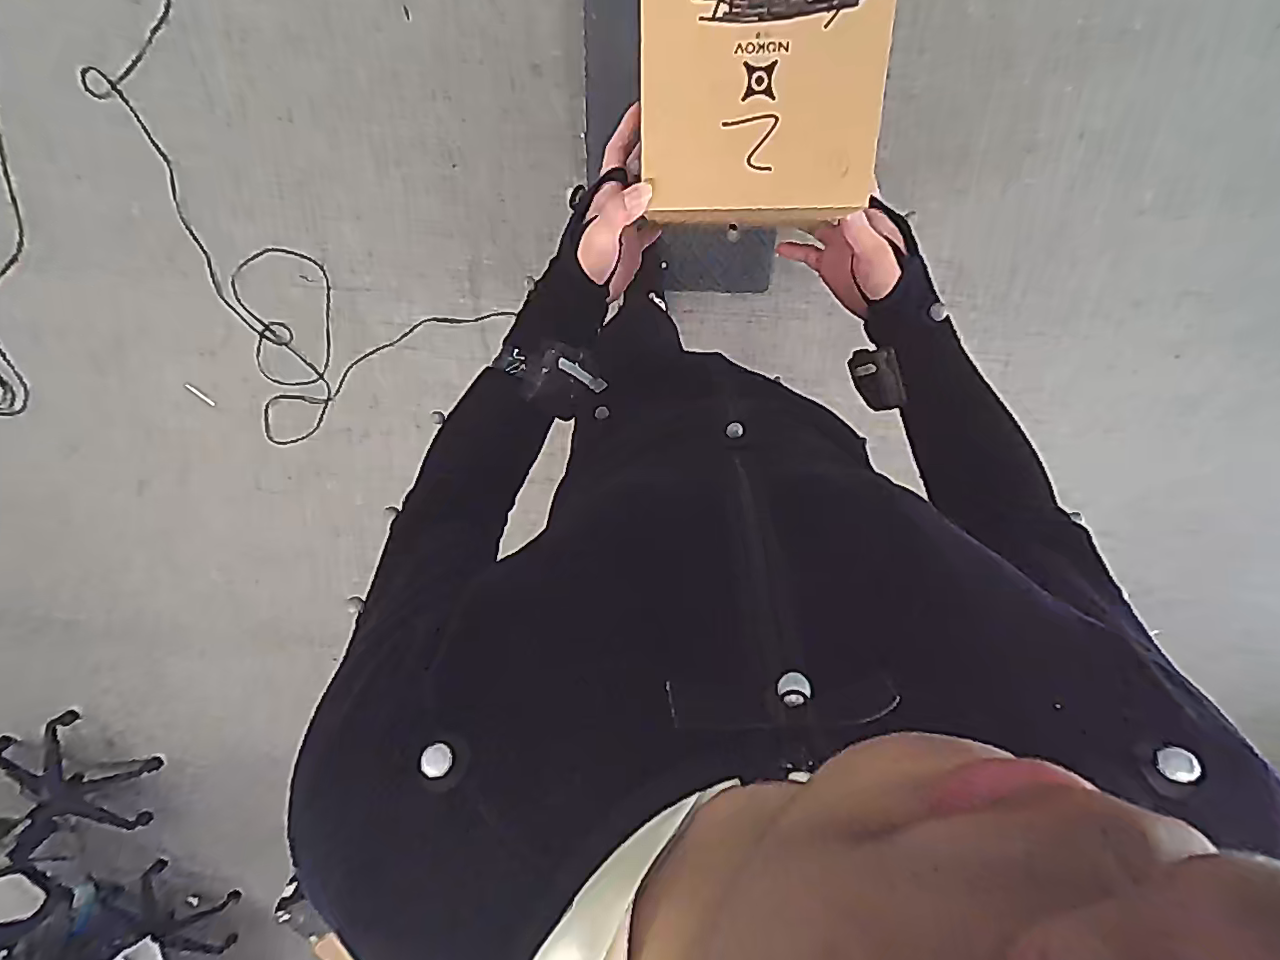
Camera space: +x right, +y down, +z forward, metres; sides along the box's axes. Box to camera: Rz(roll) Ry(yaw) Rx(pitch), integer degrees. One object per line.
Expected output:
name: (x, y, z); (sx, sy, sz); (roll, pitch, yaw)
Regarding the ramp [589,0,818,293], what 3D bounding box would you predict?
ramp: (0.131, -0.936, 1.197); (0.509, 0.206, 0.991); (1, 112, 1)
